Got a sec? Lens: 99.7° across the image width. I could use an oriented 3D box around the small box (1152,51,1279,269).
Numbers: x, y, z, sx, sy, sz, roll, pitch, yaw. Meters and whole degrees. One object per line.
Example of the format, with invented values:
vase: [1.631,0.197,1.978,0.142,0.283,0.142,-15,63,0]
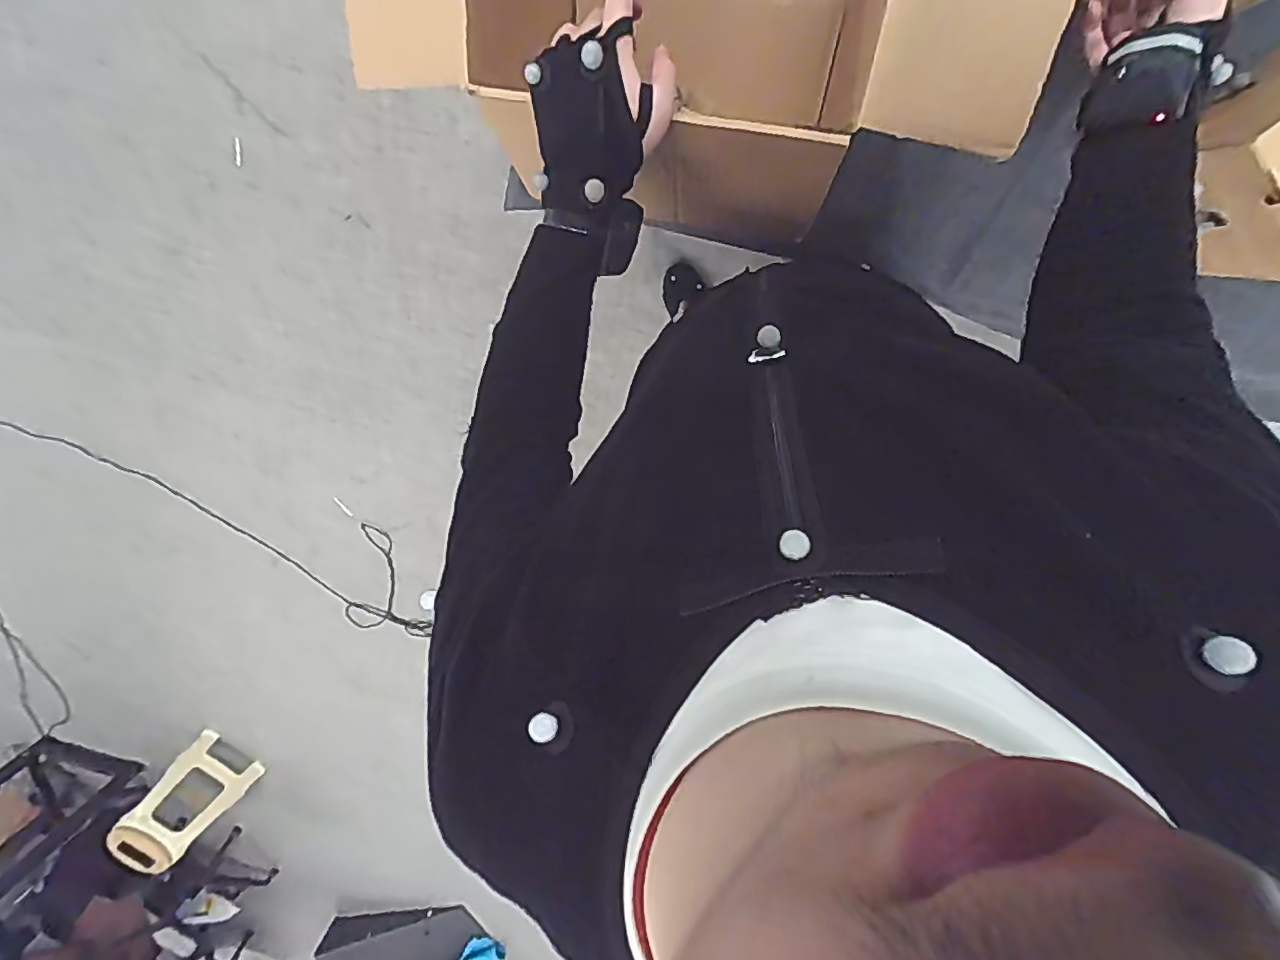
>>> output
small box: [0.662,-0.323,0.525,0.179,0.176,0.168,-38,103,25]
